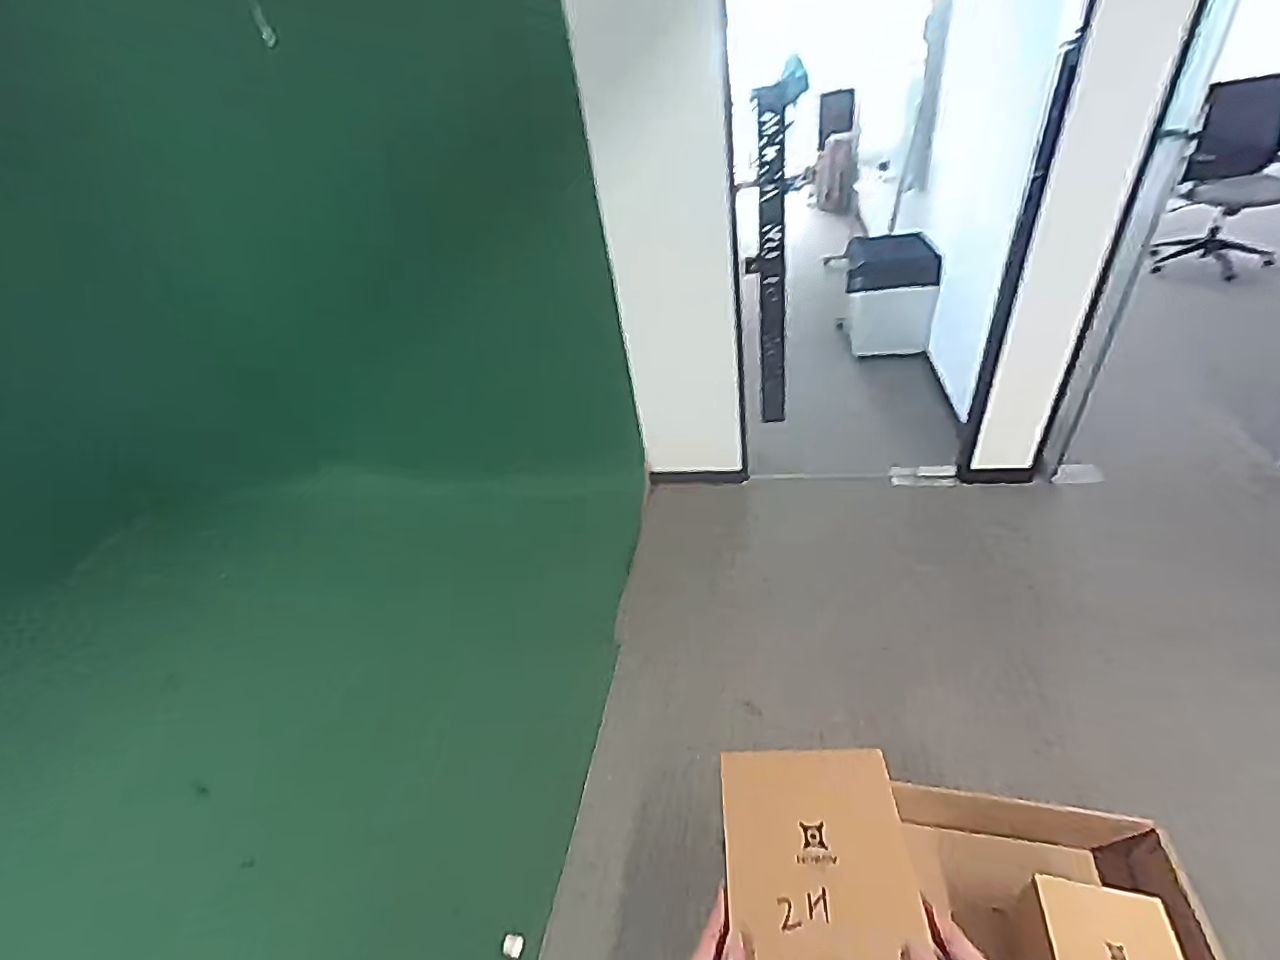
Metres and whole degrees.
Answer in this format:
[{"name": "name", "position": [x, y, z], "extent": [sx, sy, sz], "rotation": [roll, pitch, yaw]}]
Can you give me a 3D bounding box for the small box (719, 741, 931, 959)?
[{"name": "small box", "position": [0.170, 0.392, 0.553], "extent": [0.168, 0.176, 0.179], "rotation": [-5, 41, 9]}]
